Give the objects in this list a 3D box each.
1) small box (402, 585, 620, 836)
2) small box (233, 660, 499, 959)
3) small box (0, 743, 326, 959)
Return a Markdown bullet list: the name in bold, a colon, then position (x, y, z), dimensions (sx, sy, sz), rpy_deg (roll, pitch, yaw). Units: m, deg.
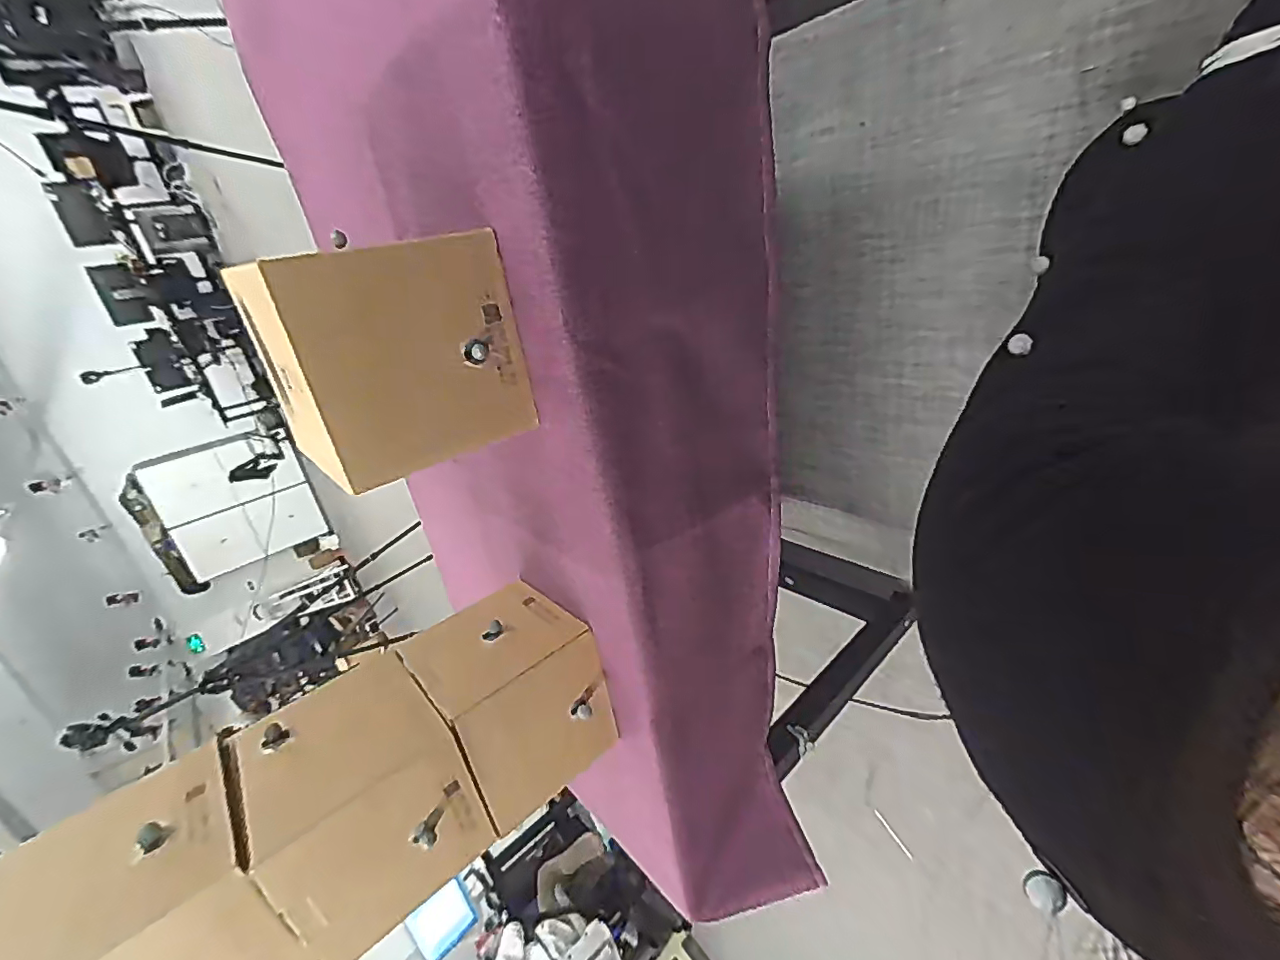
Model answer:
- **small box**: position (-0.145, 0.251, 0.636), dimensions (0.168, 0.176, 0.179), rpy_deg (17, 125, 47)
- **small box**: position (-0.269, 0.313, 0.546), dimensions (0.179, 0.176, 0.168), rpy_deg (18, 127, 45)
- **small box**: position (-0.391, 0.371, 0.452), dimensions (0.168, 0.176, 0.179), rpy_deg (20, 127, 45)
